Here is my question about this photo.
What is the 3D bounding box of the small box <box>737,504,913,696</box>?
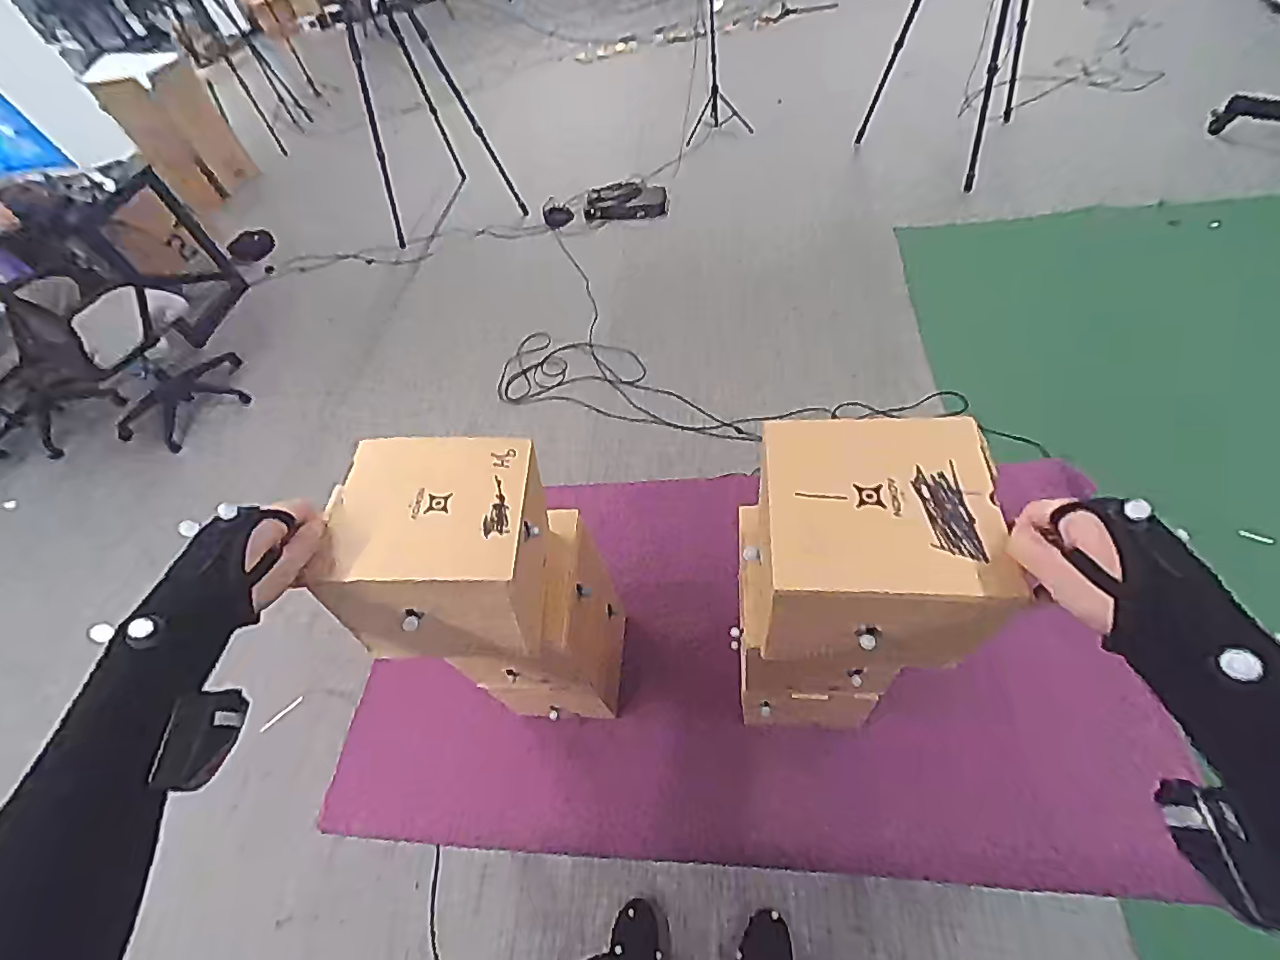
[{"bbox_3d":[0.202,0.147,0.644,0.168,0.176,0.179,-2,53,9],"label":"small box"}]

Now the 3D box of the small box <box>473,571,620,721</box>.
[{"bbox_3d":[-0.129,0.255,0.831,0.168,0.176,0.179,-2,54,10],"label":"small box"}]

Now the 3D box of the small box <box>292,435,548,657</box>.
[{"bbox_3d":[-0.197,0.071,0.548,0.179,0.176,0.168,0,50,-1],"label":"small box"}]

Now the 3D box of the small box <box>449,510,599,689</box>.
[{"bbox_3d":[-0.152,0.157,0.703,0.168,0.176,0.179,-2,54,8],"label":"small box"}]
